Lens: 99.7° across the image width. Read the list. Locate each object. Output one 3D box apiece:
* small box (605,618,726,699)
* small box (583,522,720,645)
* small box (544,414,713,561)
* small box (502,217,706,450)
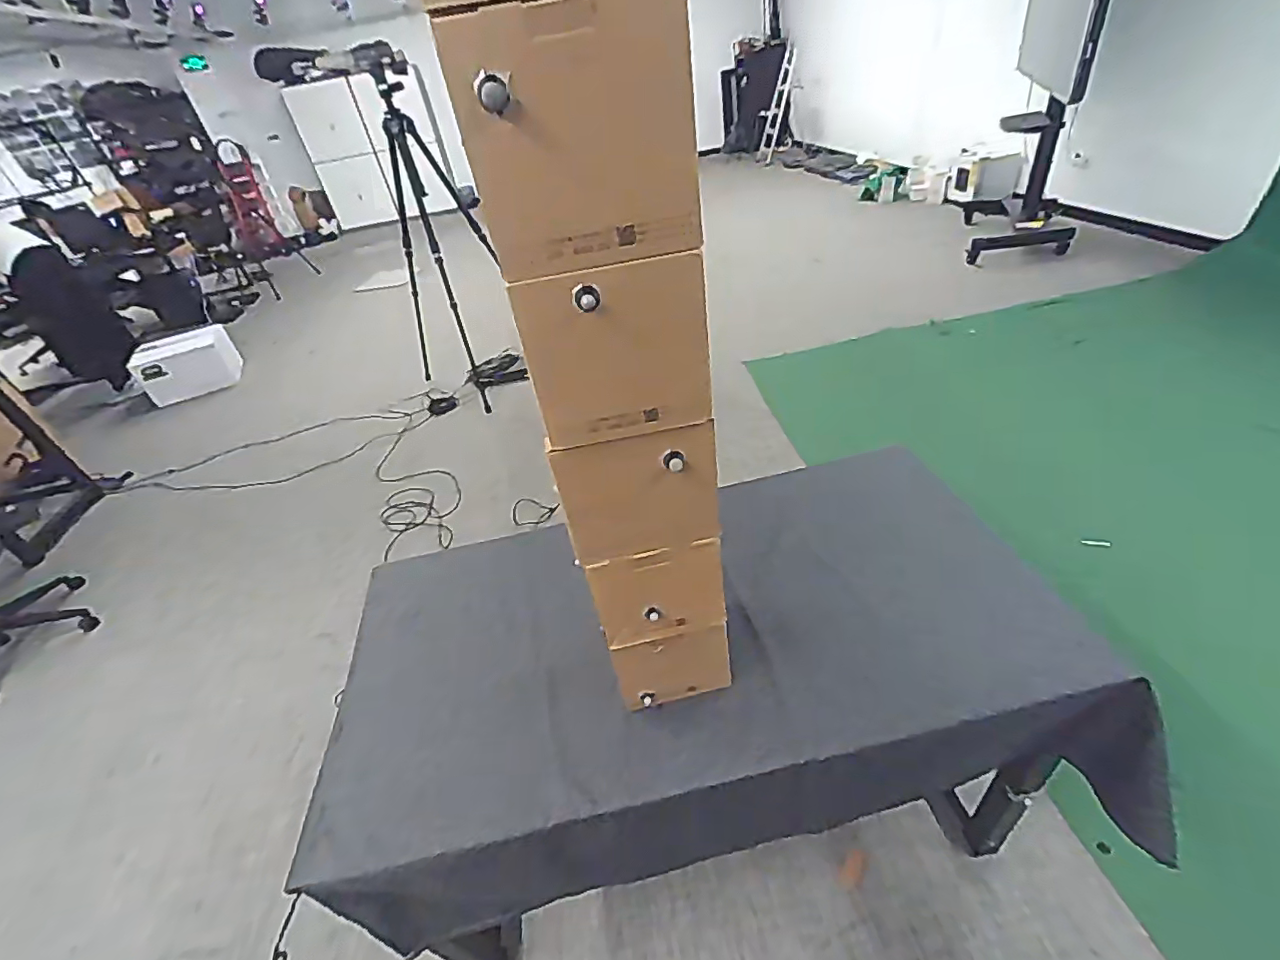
[{"bbox_3d":[0.035,0.226,0.863,0.168,0.176,0.179,-13,37,-2],"label":"small box"},{"bbox_3d":[0.010,0.100,0.763,0.168,0.176,0.179,-13,38,-2],"label":"small box"},{"bbox_3d":[-0.012,-0.026,0.660,0.179,0.176,0.168,-12,38,-1],"label":"small box"},{"bbox_3d":[-0.032,-0.154,0.560,0.168,0.176,0.179,-11,37,0],"label":"small box"}]
